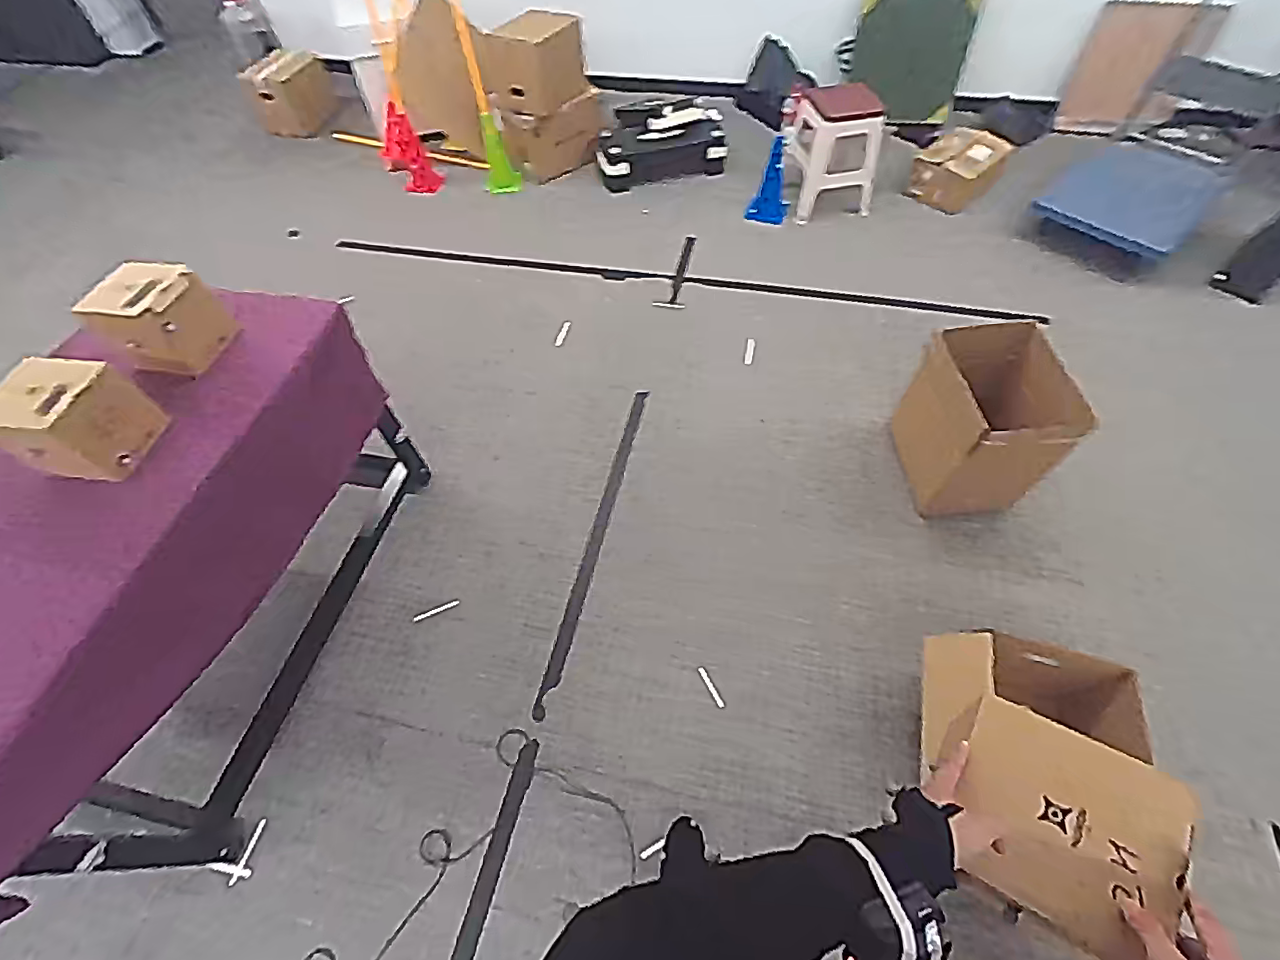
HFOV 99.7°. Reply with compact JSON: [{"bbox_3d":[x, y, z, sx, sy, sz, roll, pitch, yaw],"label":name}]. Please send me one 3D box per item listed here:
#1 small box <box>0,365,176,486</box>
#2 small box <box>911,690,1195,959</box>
[{"bbox_3d":[-1.085,-0.103,1.061,0.179,0.176,0.168,5,56,7],"label":"small box"},{"bbox_3d":[0.399,0.349,0.553,0.179,0.176,0.168,21,65,28],"label":"small box"}]
